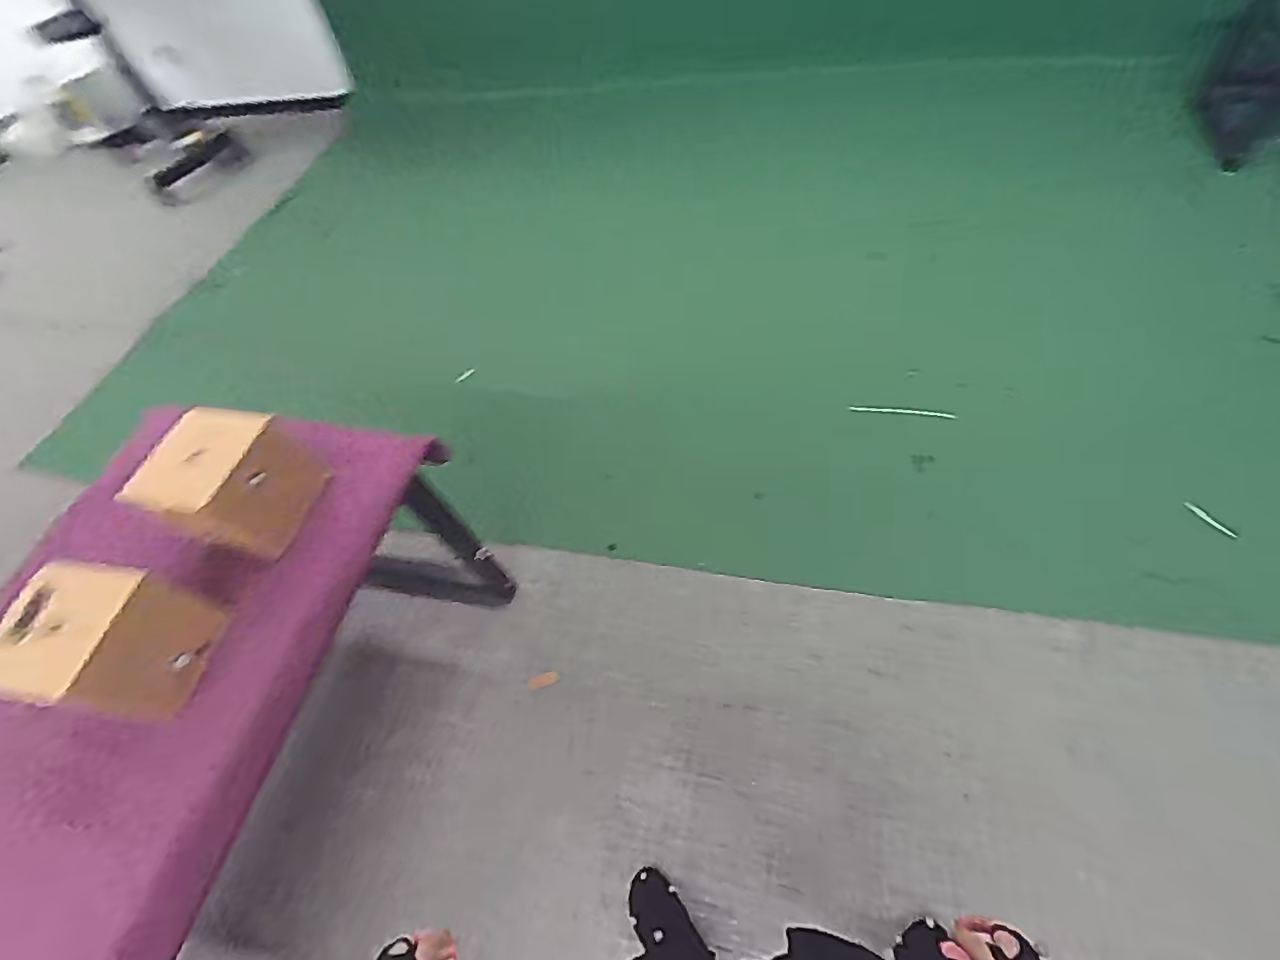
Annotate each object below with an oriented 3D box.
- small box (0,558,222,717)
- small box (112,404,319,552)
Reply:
[{"bbox_3d":[-0.759,0.225,0.759,0.179,0.176,0.168,4,58,10],"label":"small box"},{"bbox_3d":[-0.679,0.001,0.892,0.168,0.176,0.179,8,59,14],"label":"small box"}]
